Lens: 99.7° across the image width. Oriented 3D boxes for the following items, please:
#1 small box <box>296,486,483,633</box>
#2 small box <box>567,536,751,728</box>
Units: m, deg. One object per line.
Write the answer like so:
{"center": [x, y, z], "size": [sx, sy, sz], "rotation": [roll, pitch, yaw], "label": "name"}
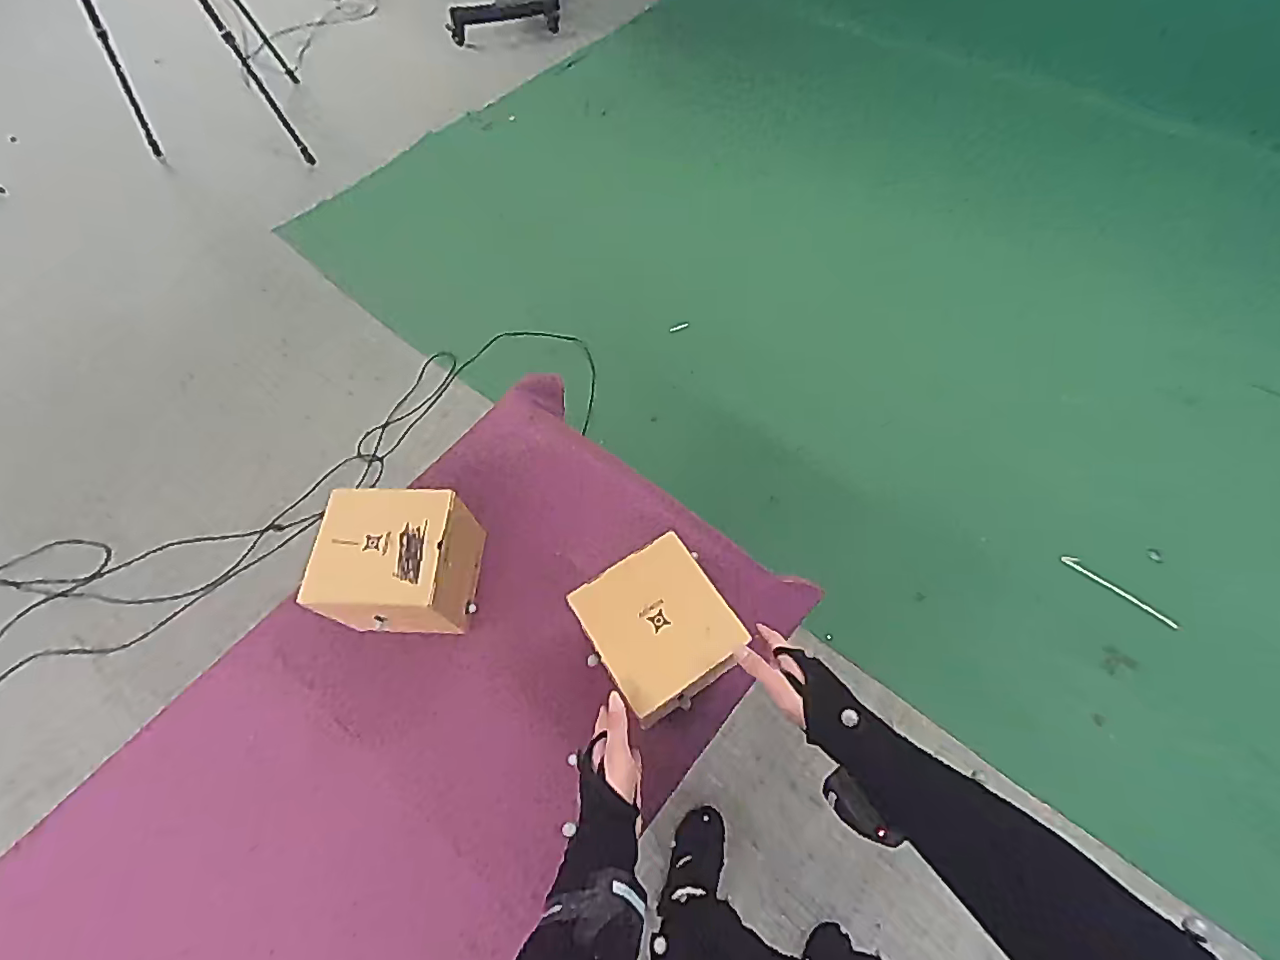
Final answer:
{"center": [-0.343, 0.121, 0.785], "size": [0.179, 0.176, 0.168], "rotation": [2, 62, 2], "label": "small box"}
{"center": [0.026, 0.211, 0.728], "size": [0.168, 0.176, 0.179], "rotation": [-30, 63, -13], "label": "small box"}
